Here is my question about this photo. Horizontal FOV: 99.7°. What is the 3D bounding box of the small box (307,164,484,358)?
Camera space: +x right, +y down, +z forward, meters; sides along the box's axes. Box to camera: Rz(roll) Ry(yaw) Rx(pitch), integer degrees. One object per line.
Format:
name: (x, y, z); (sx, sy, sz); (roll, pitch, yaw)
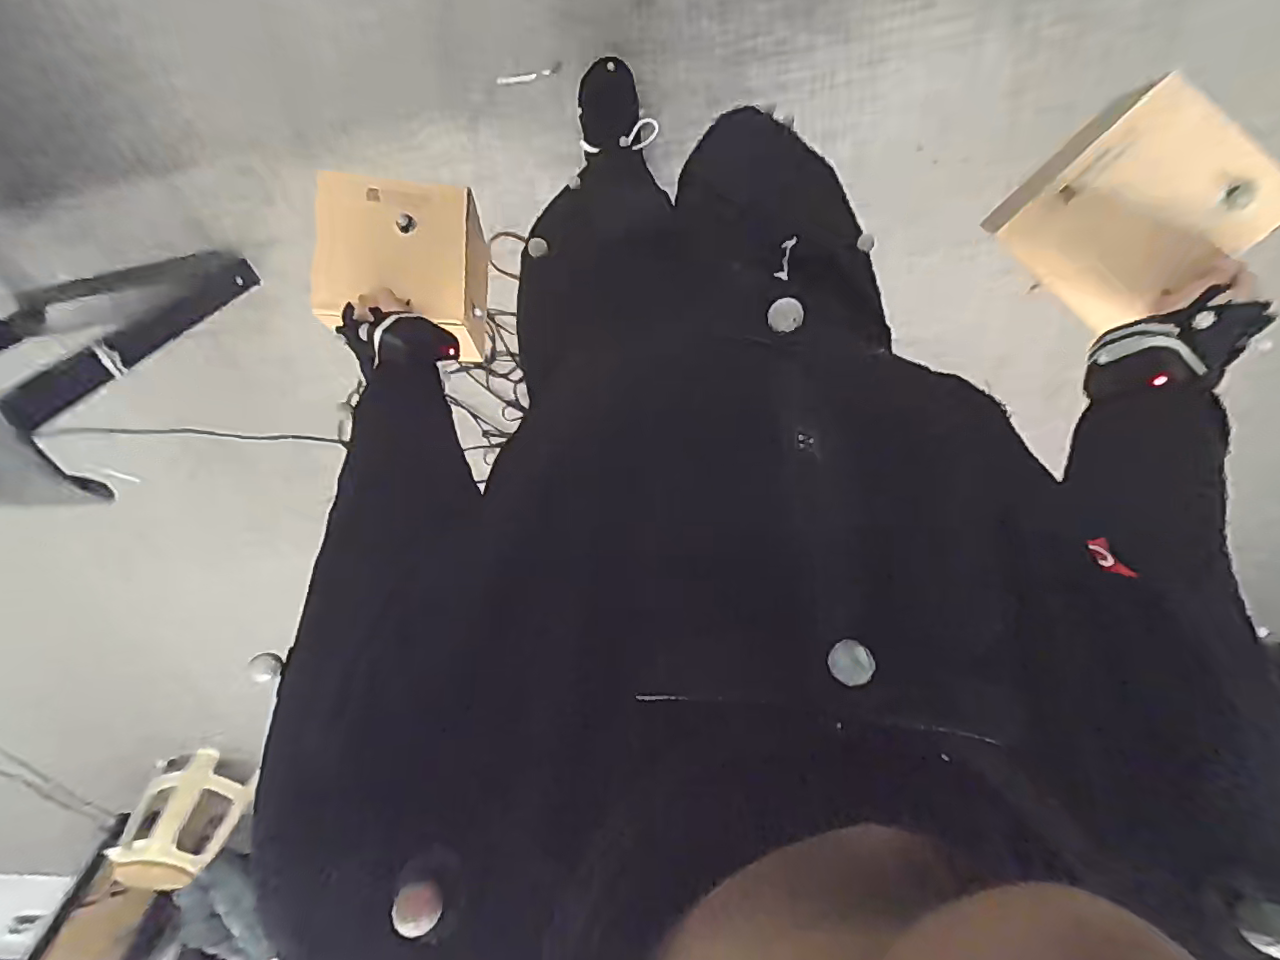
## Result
small box: (-0.296, -0.264, 0.689); (0.168, 0.179, 0.176); (1, 88, -8)
